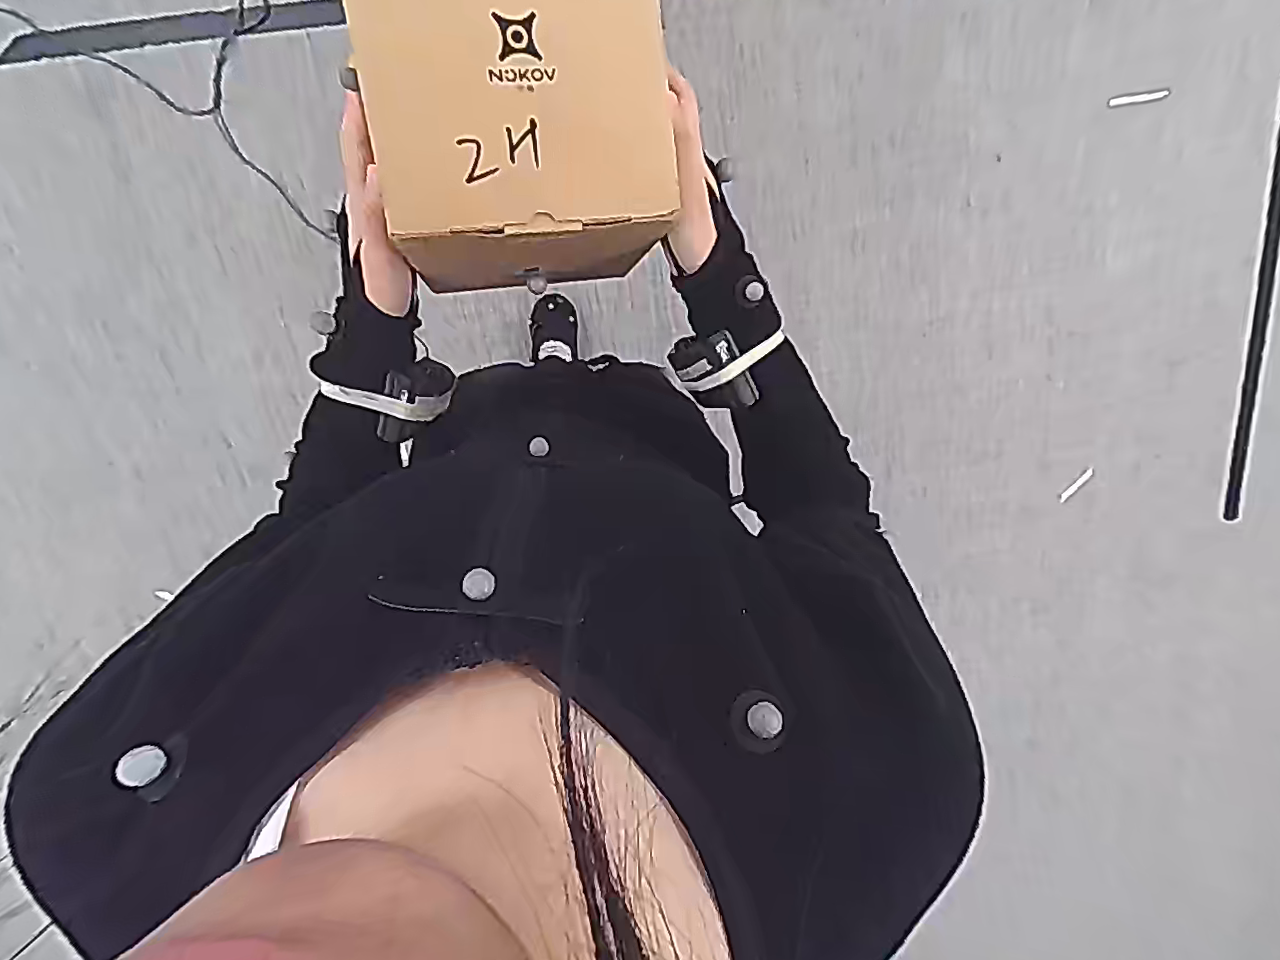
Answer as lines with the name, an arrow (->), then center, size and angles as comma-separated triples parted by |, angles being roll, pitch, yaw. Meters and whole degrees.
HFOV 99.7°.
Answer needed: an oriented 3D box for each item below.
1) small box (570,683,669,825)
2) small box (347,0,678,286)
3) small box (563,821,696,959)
small box -> -0.040, 0.543, 1.086 | 0.168, 0.176, 0.179 | -10, 104, -2
small box -> -0.084, -0.243, 0.365 | 0.168, 0.176, 0.179 | -9, 101, -11
small box -> -0.015, 0.619, 0.768 | 0.168, 0.176, 0.179 | -8, 105, -3
